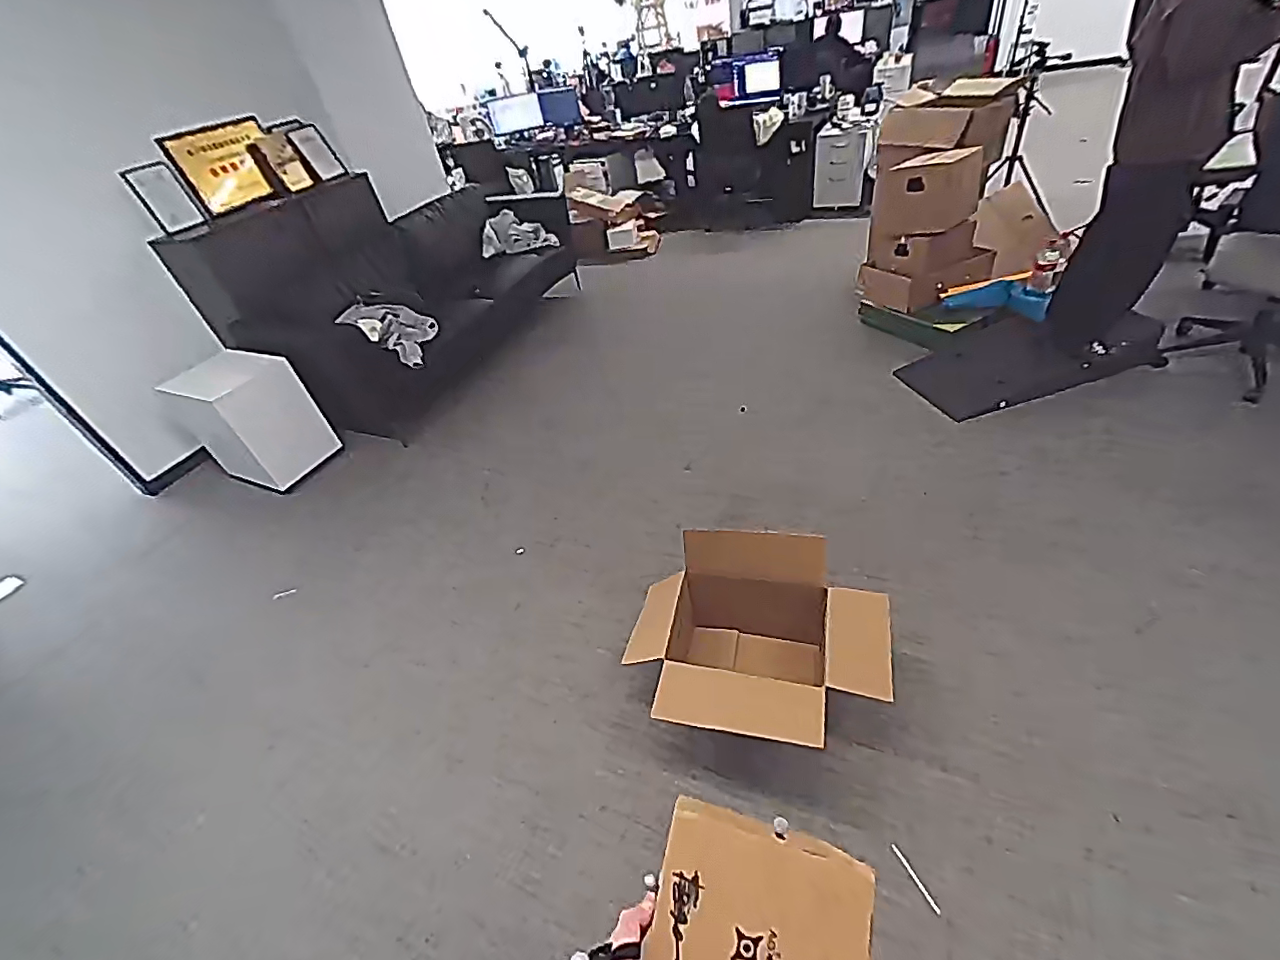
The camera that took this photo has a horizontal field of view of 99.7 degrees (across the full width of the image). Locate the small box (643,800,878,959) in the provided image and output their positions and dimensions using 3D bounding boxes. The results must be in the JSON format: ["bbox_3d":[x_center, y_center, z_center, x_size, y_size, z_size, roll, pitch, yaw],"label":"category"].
[{"bbox_3d":[0.103,0.419,0.512,0.179,0.176,0.168,12,63,10],"label":"small box"}]
